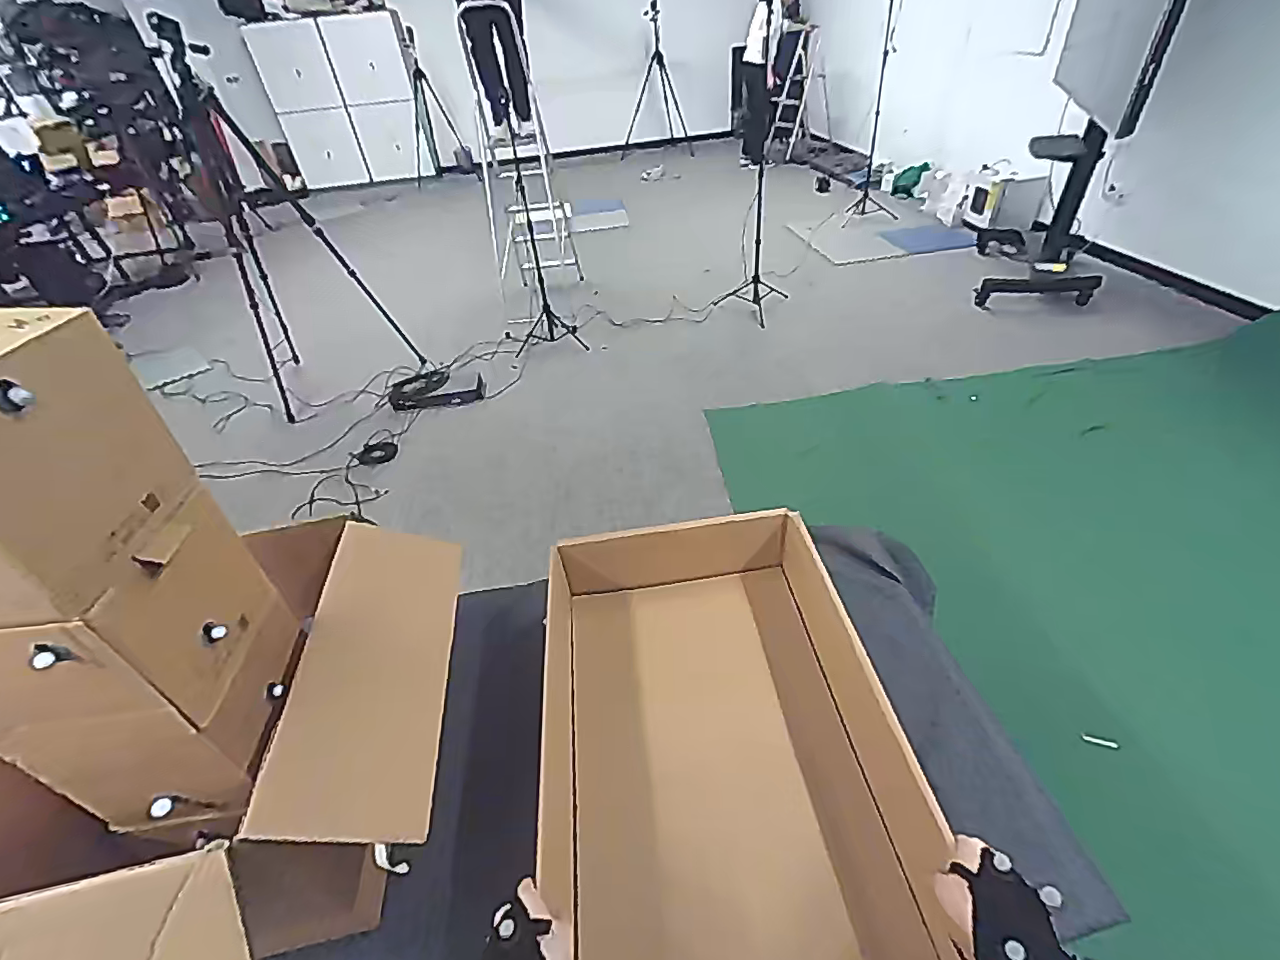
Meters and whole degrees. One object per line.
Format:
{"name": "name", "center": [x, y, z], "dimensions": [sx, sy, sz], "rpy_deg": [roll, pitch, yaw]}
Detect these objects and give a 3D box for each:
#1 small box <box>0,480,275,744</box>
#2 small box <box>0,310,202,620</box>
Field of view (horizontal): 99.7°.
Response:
{"name": "small box", "center": [-0.487, 0.120, 0.497], "dimensions": [0.179, 0.176, 0.168], "rpy_deg": [-4, 39, -6]}
{"name": "small box", "center": [-0.489, -0.010, 0.396], "dimensions": [0.179, 0.176, 0.168], "rpy_deg": [-4, 39, -4]}
